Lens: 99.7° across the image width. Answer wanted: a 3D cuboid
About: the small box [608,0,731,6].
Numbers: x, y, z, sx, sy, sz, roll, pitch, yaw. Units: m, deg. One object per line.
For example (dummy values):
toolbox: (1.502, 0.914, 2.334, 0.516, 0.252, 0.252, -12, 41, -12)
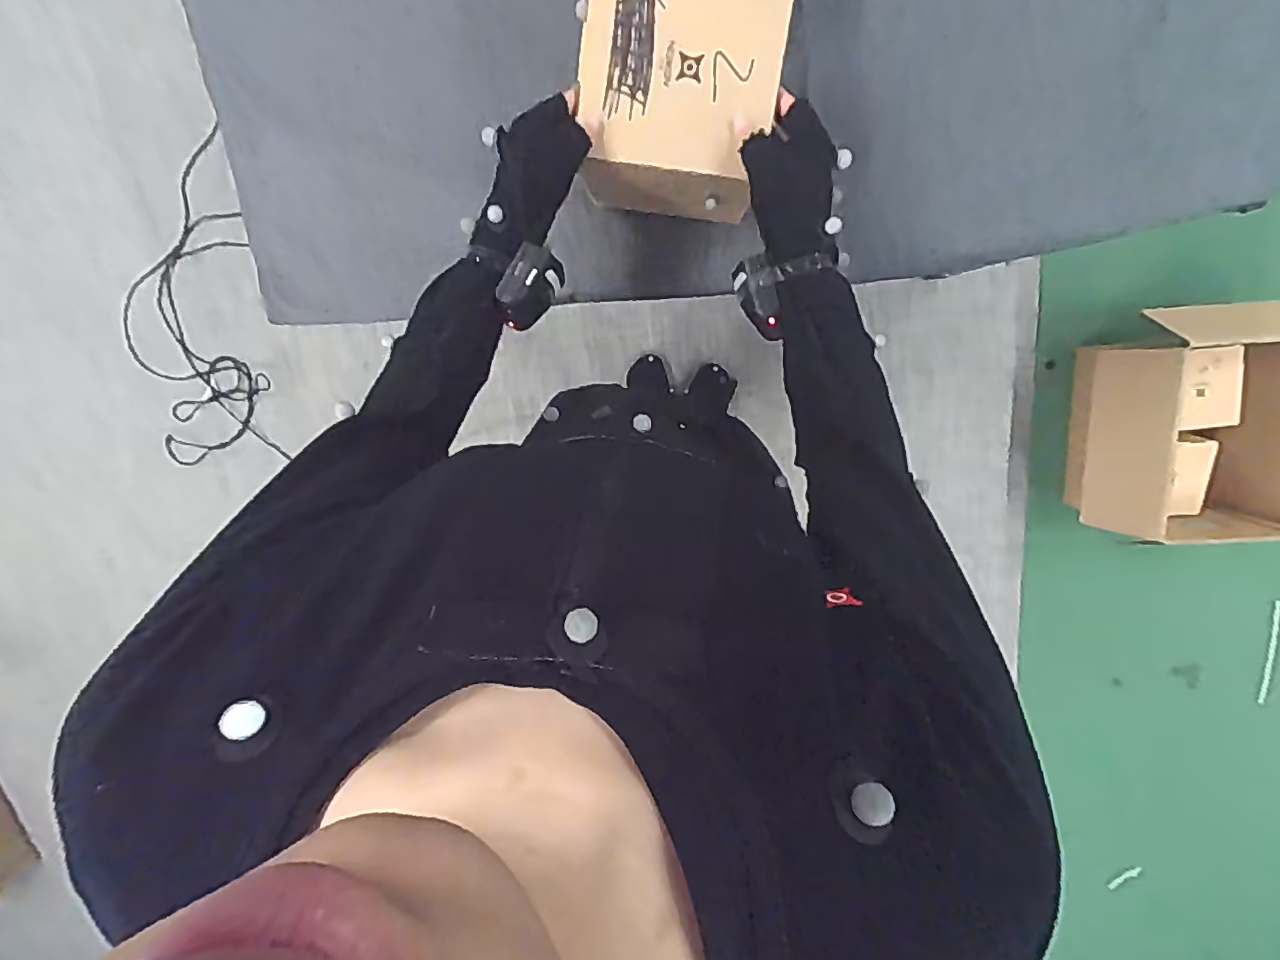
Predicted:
small box: (0.024, -0.589, 0.507, 0.168, 0.176, 0.179, 0, 103, 4)
